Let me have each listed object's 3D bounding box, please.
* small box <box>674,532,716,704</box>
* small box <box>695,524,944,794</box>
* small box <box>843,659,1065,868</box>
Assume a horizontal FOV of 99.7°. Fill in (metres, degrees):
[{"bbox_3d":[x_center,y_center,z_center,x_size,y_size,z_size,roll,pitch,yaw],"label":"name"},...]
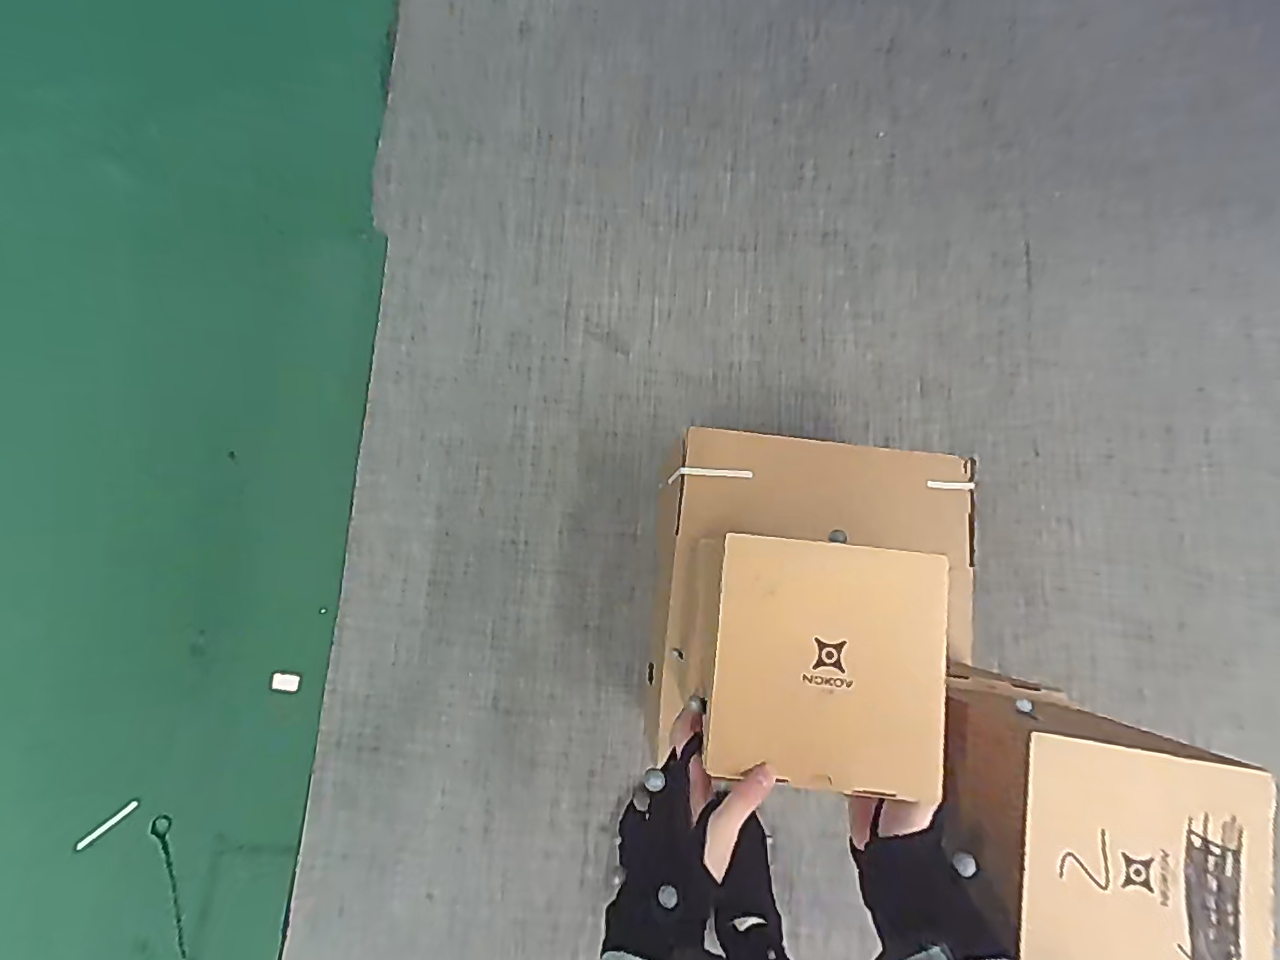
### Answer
[{"bbox_3d":[0.132,0.164,0.641,0.168,0.176,0.179,6,79,1],"label":"small box"},{"bbox_3d":[0.139,0.137,0.473,0.168,0.176,0.179,6,83,4],"label":"small box"},{"bbox_3d":[0.338,0.295,0.616,0.168,0.176,0.179,8,79,1],"label":"small box"}]
